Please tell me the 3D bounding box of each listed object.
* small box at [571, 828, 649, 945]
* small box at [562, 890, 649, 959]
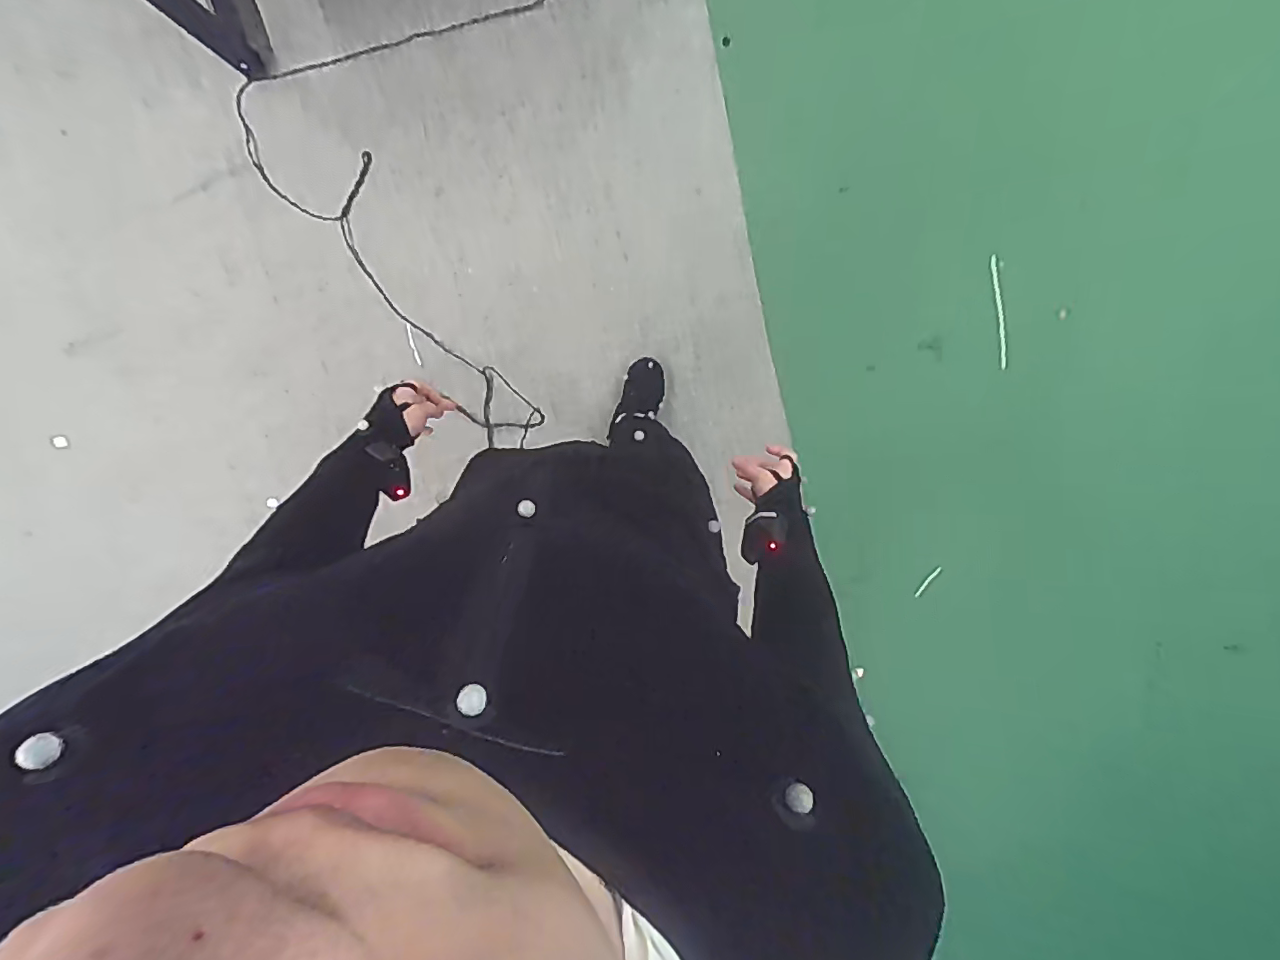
[{"bbox_3d":[-0.068,0.984,1.302,0.168,0.176,0.179,-6,101,-1],"label":"small box"},{"bbox_3d":[-0.069,1.007,1.139,0.168,0.176,0.179,-7,100,1],"label":"small box"}]
